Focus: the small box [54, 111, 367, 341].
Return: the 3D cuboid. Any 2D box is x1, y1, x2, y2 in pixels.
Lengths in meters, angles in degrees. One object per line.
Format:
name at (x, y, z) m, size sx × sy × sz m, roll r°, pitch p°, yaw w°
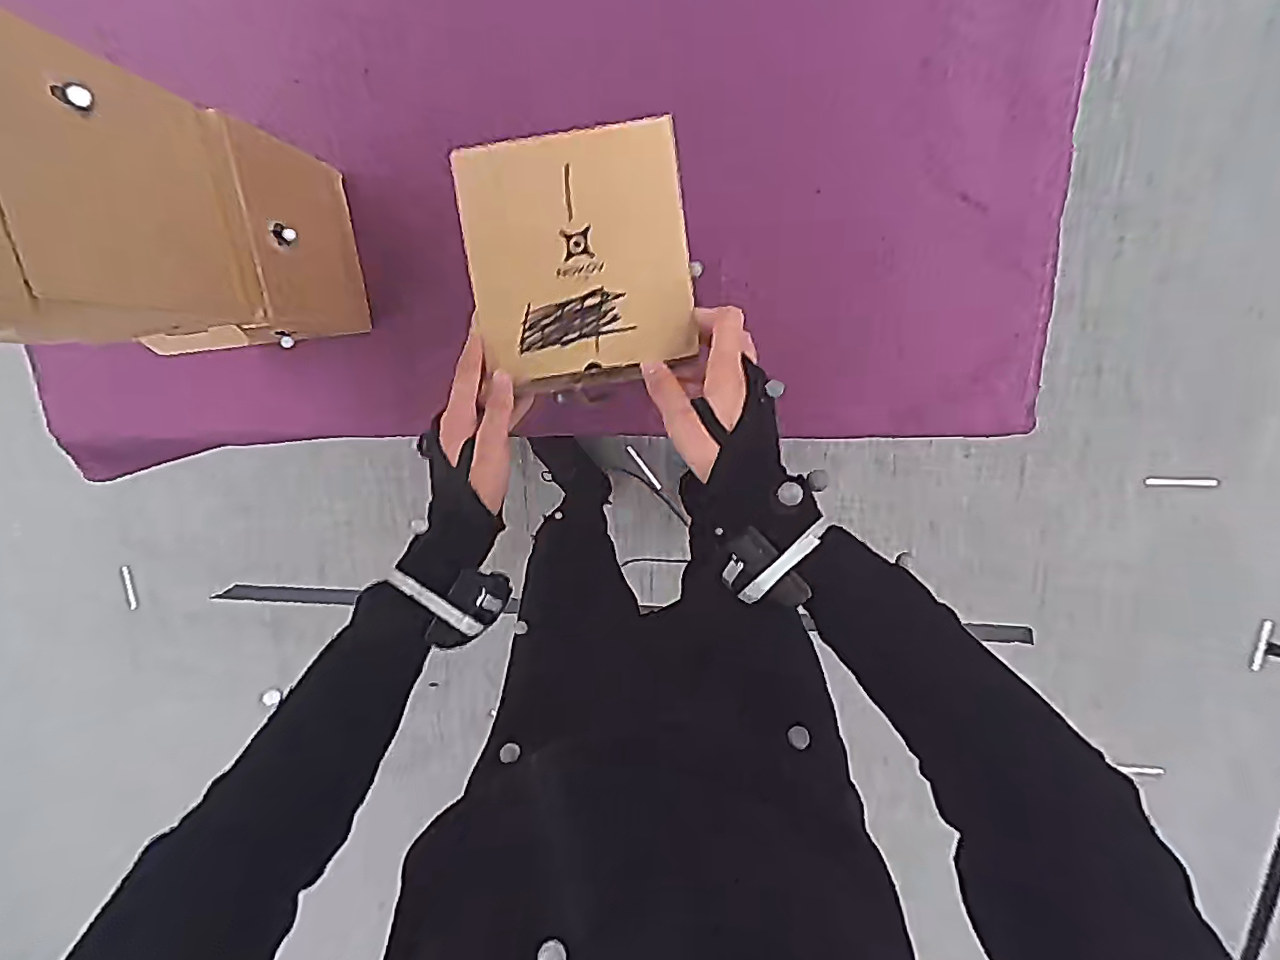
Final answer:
small box at (-0.412, -0.239, 0.555) m, size 0.168 × 0.176 × 0.179 m, roll -3°, pitch 103°, yaw 6°
